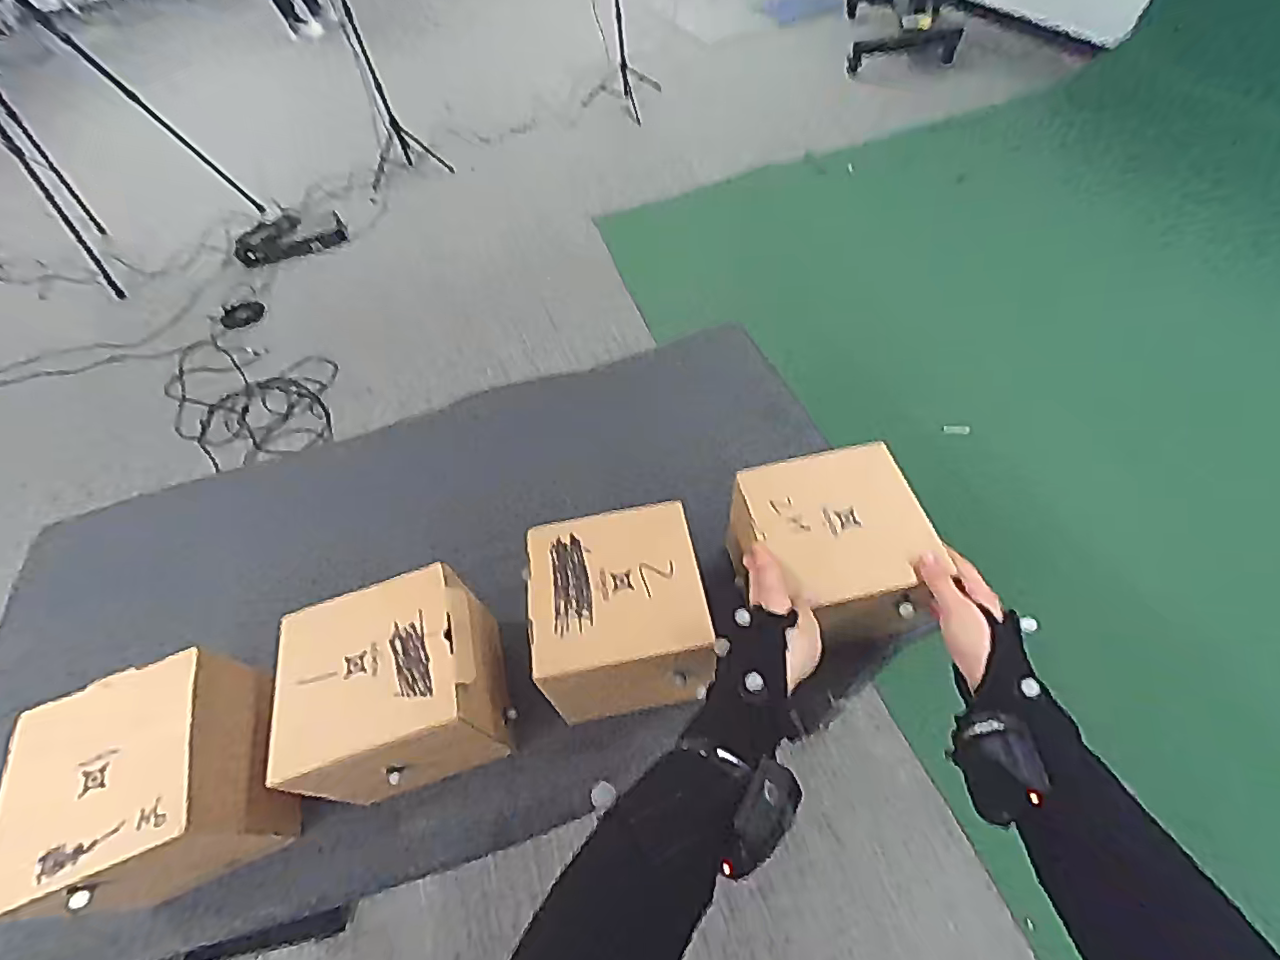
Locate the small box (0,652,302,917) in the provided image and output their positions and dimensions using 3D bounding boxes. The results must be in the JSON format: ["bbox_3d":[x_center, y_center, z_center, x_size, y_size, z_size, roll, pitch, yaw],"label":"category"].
[{"bbox_3d":[-0.477,0.310,0.554,0.168,0.176,0.179,-21,55,-7],"label":"small box"}]
